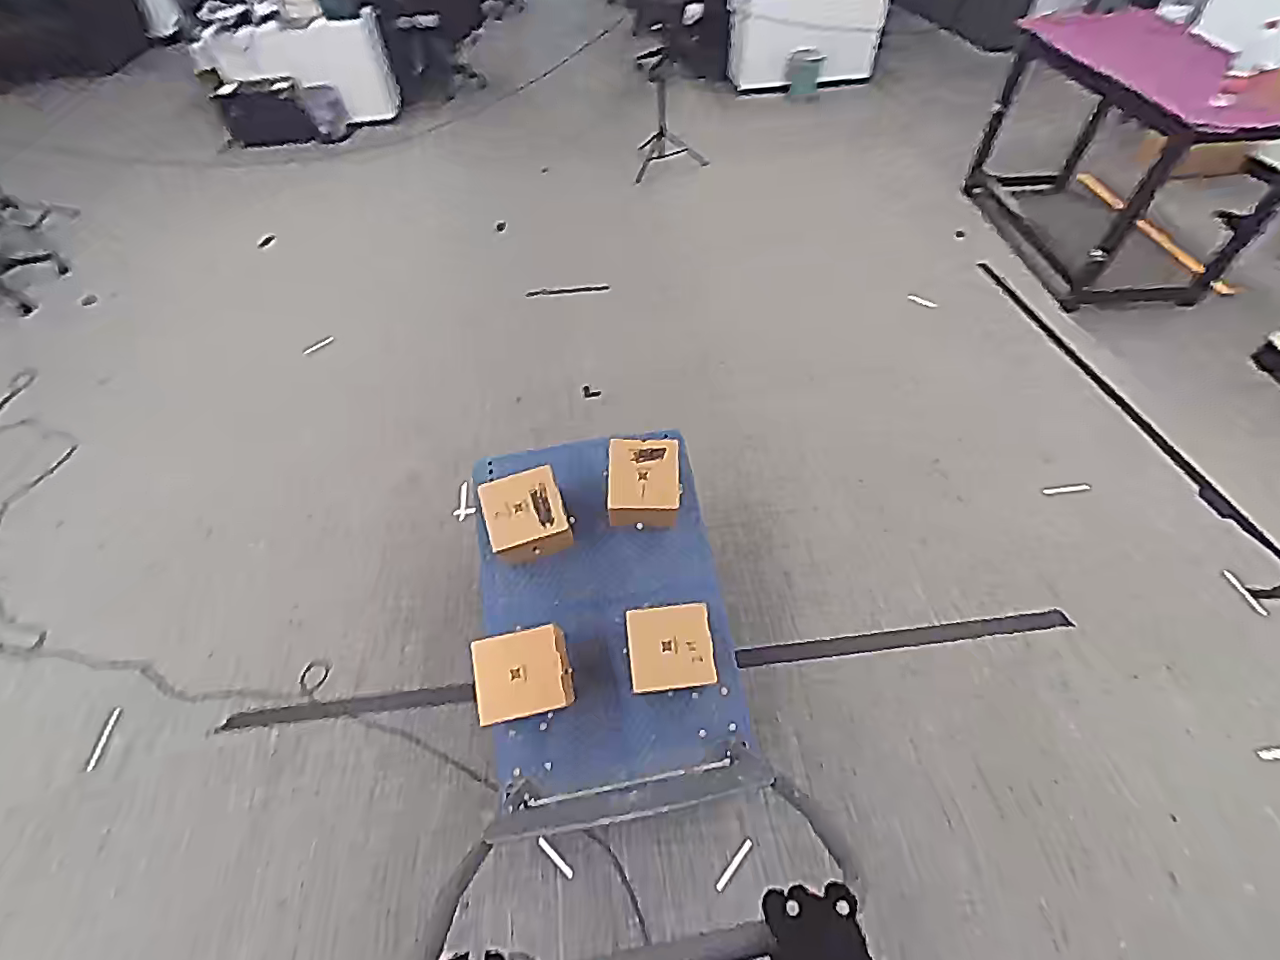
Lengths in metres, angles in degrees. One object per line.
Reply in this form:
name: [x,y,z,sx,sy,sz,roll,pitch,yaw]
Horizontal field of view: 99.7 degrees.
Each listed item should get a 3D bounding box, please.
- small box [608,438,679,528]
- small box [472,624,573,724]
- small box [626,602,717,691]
small box: [0.006,0.011,1.335,0.168,0.176,0.179,1,70,-1]
small box: [-0.249,0.422,1.172,0.179,0.176,0.168,-12,70,-7]
small box: [0.064,0.373,1.198,0.179,0.176,0.168,-6,70,-3]
